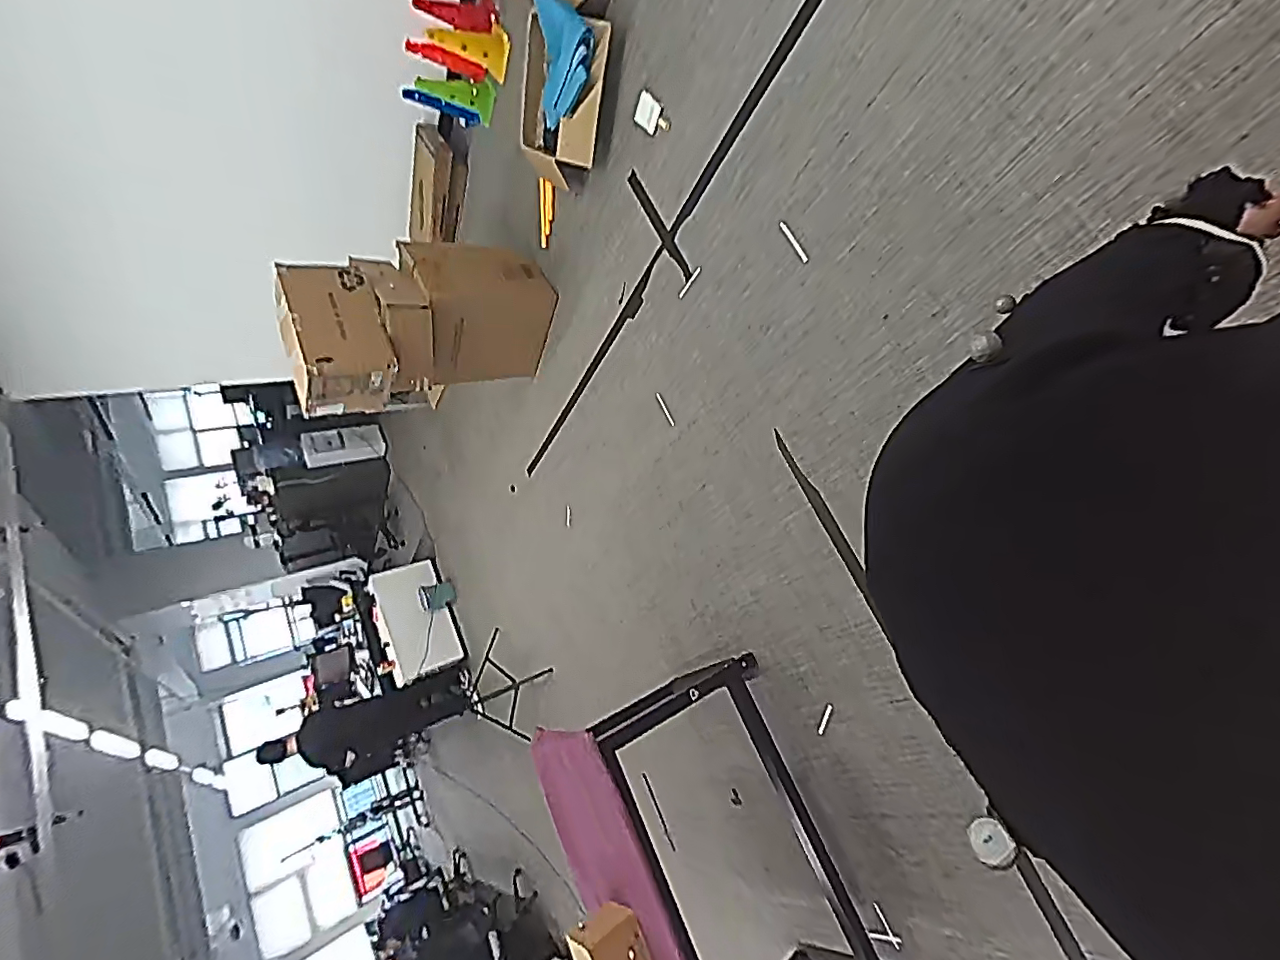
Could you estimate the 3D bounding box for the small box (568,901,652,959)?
[{"bbox_3d":[-0.087,1.406,1.614,0.179,0.176,0.168,-41,69,51],"label":"small box"}]
